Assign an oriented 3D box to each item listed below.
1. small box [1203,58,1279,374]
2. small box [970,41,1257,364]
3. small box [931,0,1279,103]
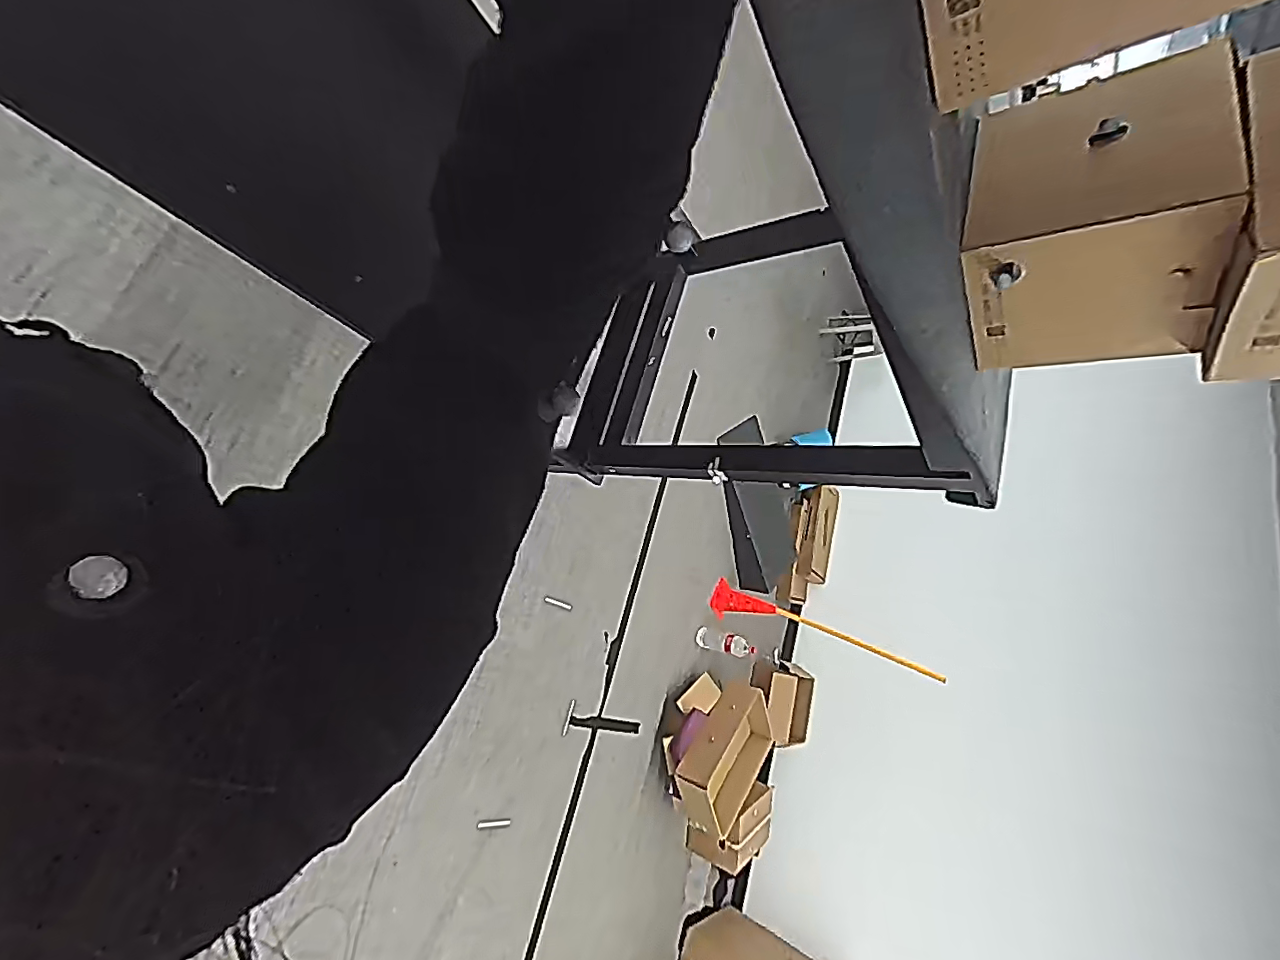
[{"bbox_3d":[0.523,-0.190,0.378,0.168,0.176,0.179,34,65,-49],"label":"small box"},{"bbox_3d":[0.404,-0.224,0.487,0.168,0.176,0.179,42,59,-45],"label":"small box"},{"bbox_3d":[0.240,-0.342,0.265,0.168,0.176,0.179,38,61,-46],"label":"small box"}]
